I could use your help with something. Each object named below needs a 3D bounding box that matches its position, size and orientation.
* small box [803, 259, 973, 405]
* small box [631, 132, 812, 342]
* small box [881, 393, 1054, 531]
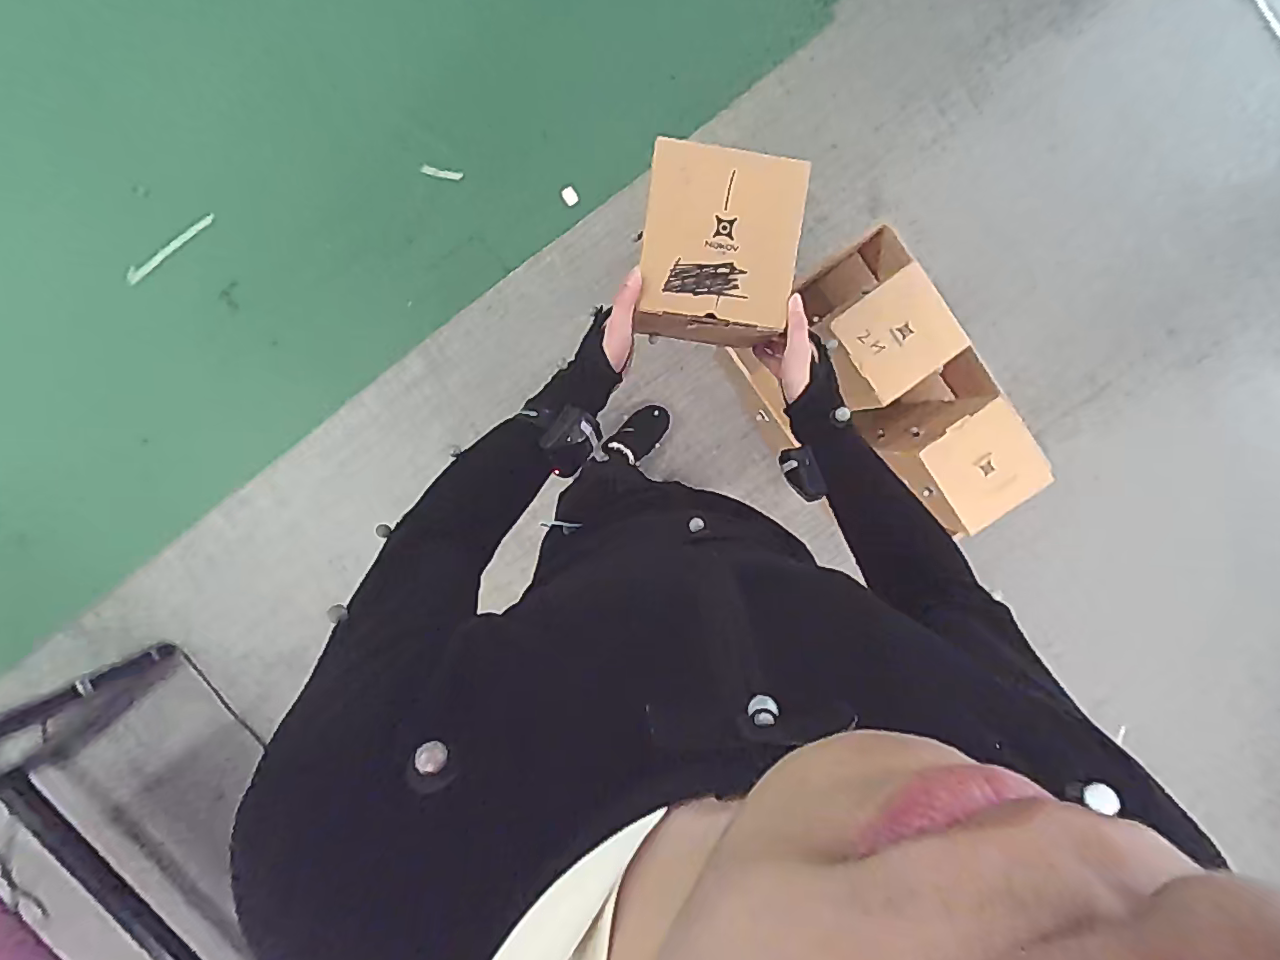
[{"bbox_3d":[0.419,-0.246,0.944,0.179,0.176,0.168,-36,95,2],"label":"small box"},{"bbox_3d":[0.080,-0.264,0.635,0.168,0.176,0.179,6,97,-5],"label":"small box"},{"bbox_3d":[0.571,-0.034,0.969,0.168,0.176,0.179,-34,96,3],"label":"small box"}]
